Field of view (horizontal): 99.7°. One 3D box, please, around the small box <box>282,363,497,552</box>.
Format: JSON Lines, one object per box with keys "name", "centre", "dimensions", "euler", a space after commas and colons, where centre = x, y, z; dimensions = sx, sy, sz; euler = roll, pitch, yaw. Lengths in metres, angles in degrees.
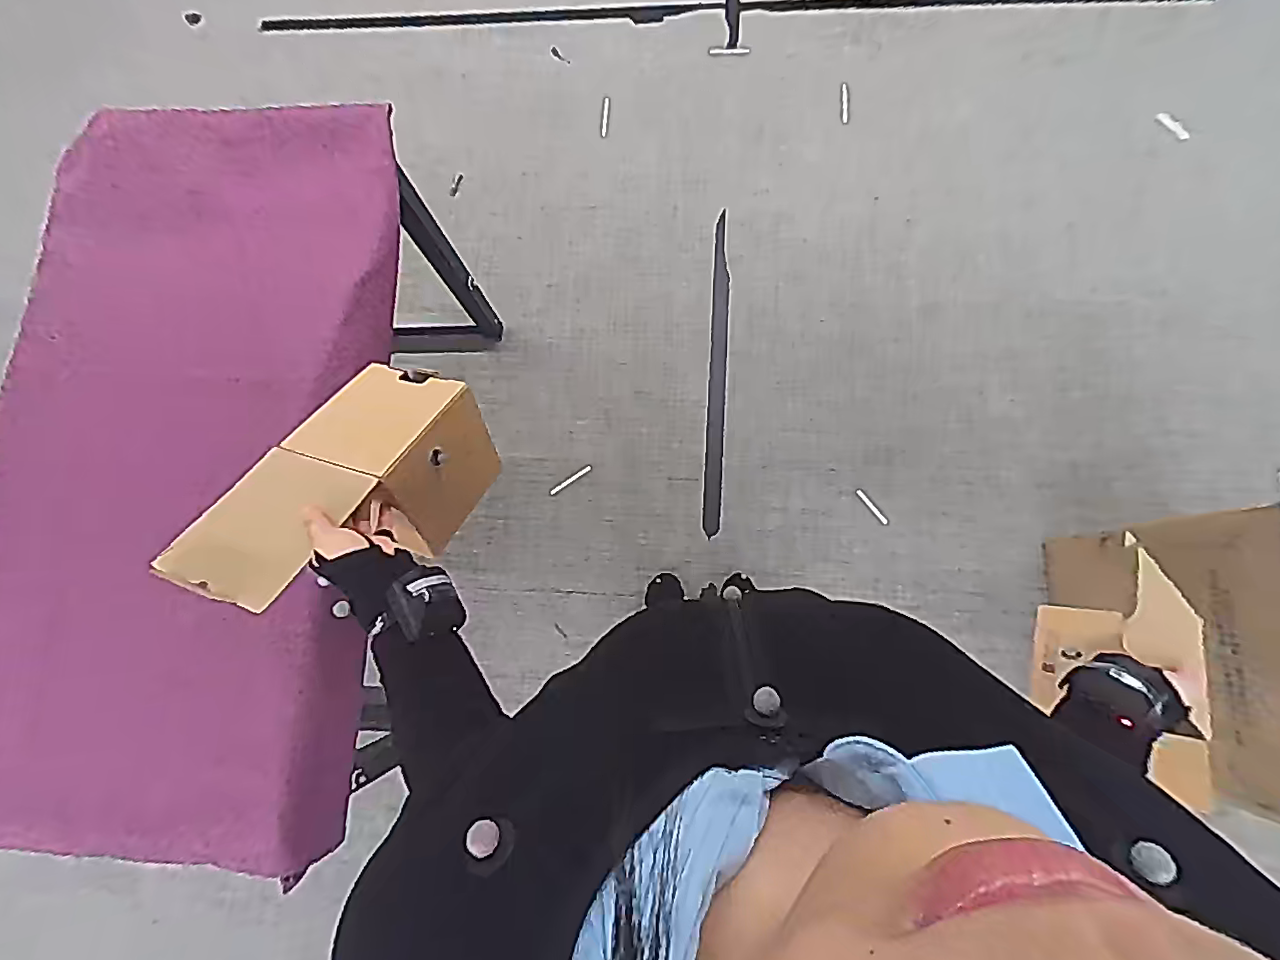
{"name": "small box", "centre": [-0.320, -0.029, 0.735], "dimensions": [0.168, 0.176, 0.179], "euler": [14, 52, 18]}
